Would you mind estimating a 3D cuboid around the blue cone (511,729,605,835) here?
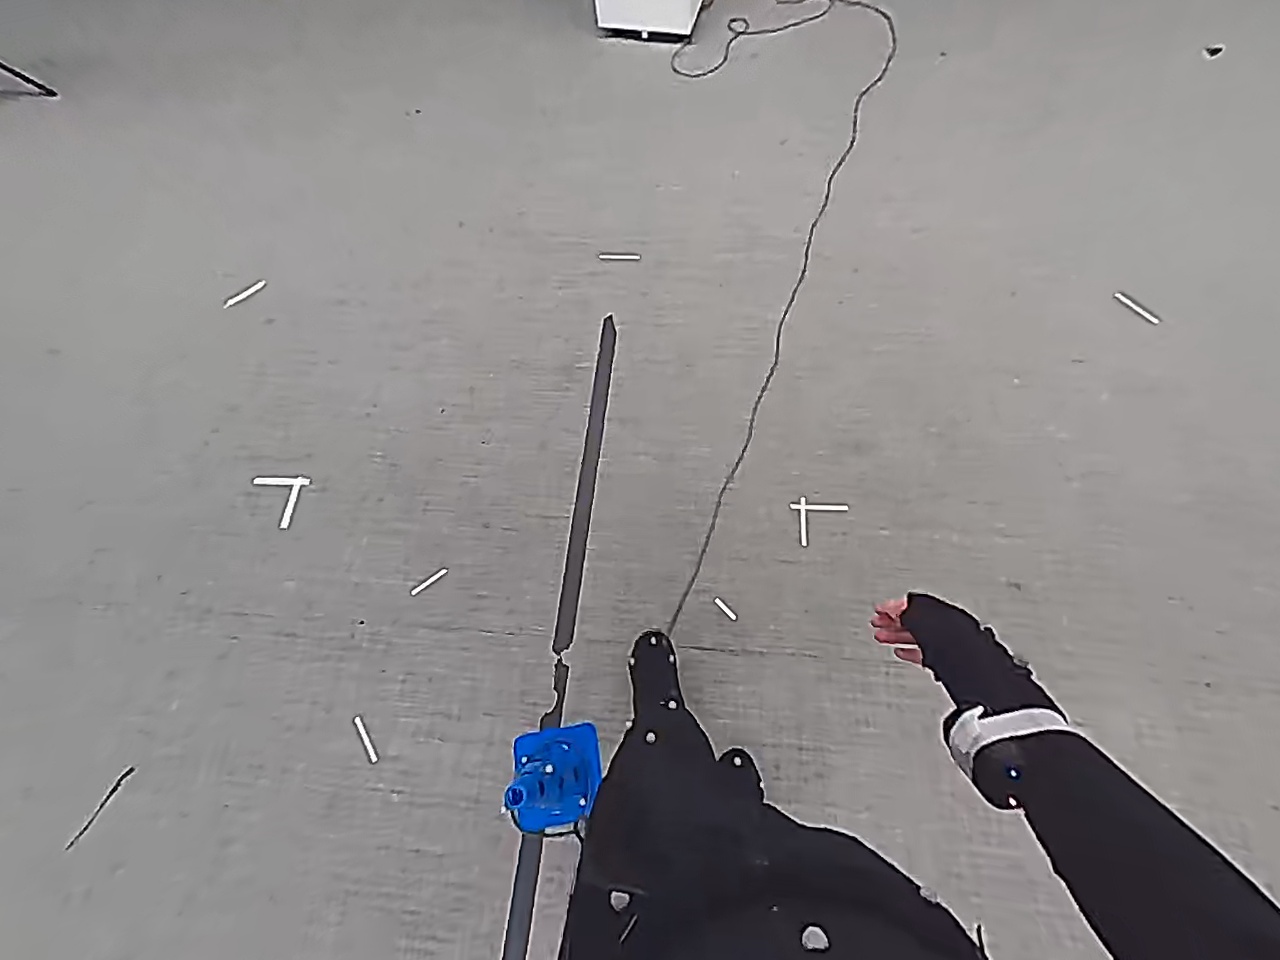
[{"bbox_3d":[-0.193,0.612,1.076,0.193,0.380,0.192,-11,66,-2],"label":"blue cone"}]
